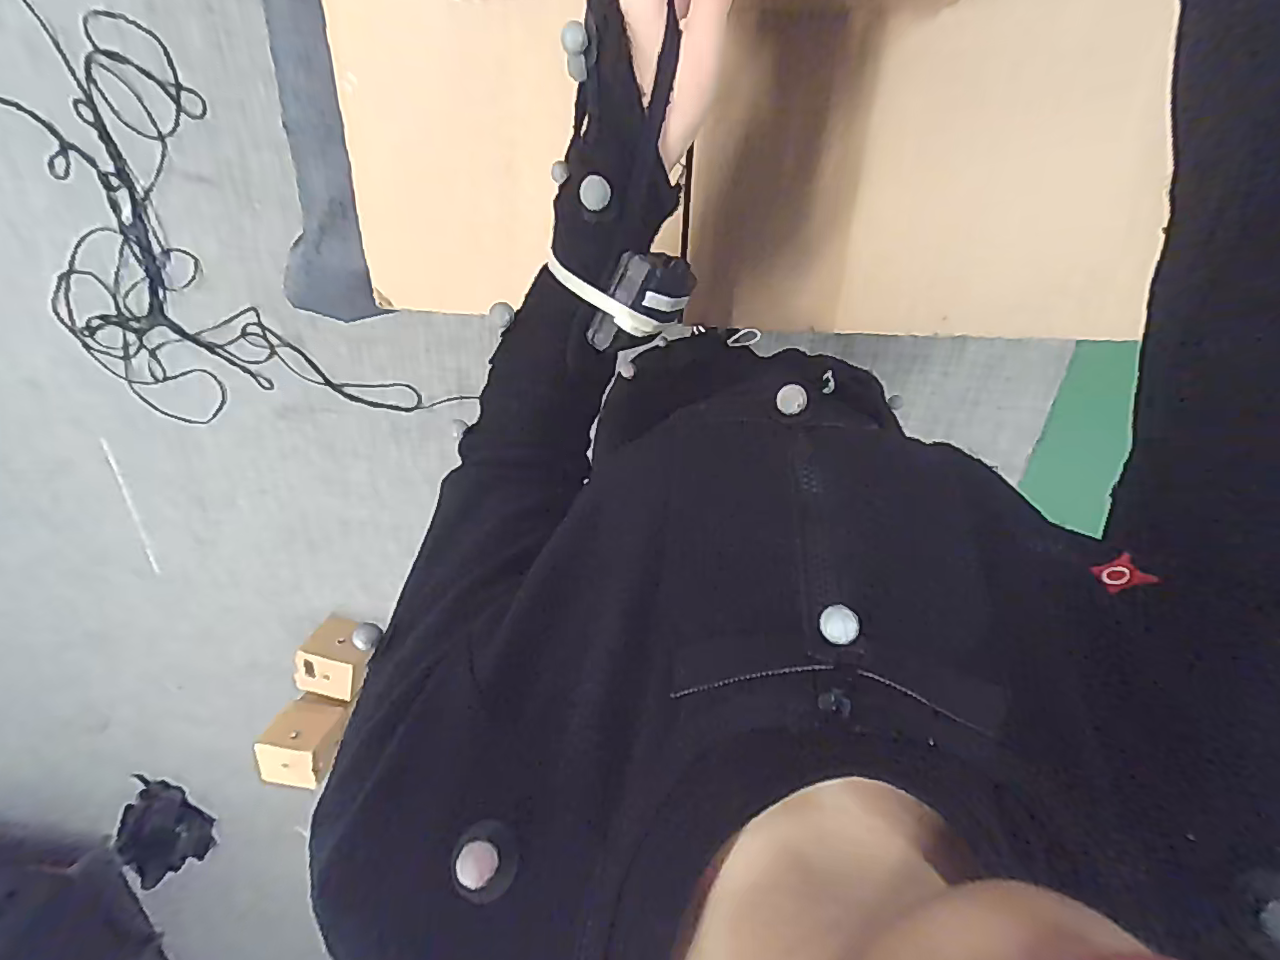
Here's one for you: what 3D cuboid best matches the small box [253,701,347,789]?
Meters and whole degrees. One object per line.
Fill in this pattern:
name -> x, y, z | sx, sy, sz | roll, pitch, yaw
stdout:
small box -> -1.039, 0.809, 1.664 | 0.179, 0.176, 0.168 | 9, 115, 1

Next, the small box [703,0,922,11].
small box -> 0.119, -0.366, 0.263 | 0.179, 0.176, 0.168 | 2, 112, 5

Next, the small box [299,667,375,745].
small box -> -1.012, 0.754, 1.816 | 0.179, 0.176, 0.168 | 9, 115, 1
